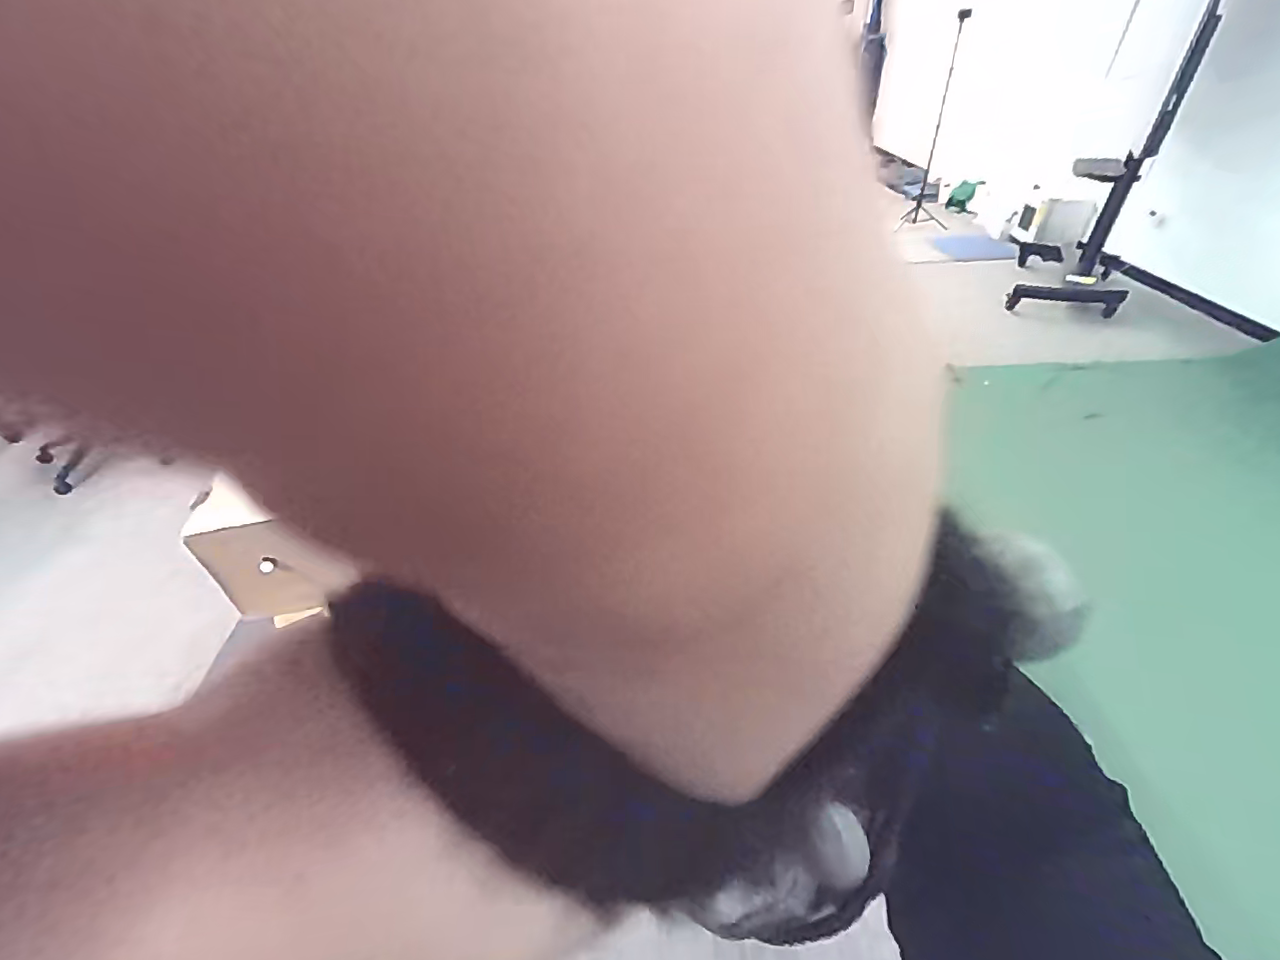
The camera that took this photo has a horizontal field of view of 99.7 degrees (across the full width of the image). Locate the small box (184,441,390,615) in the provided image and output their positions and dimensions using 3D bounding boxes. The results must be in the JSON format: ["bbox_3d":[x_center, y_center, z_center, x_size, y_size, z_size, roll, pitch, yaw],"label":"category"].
[{"bbox_3d":[-0.489,0.070,0.783,0.179,0.176,0.168,-12,40,-9],"label":"small box"}]
